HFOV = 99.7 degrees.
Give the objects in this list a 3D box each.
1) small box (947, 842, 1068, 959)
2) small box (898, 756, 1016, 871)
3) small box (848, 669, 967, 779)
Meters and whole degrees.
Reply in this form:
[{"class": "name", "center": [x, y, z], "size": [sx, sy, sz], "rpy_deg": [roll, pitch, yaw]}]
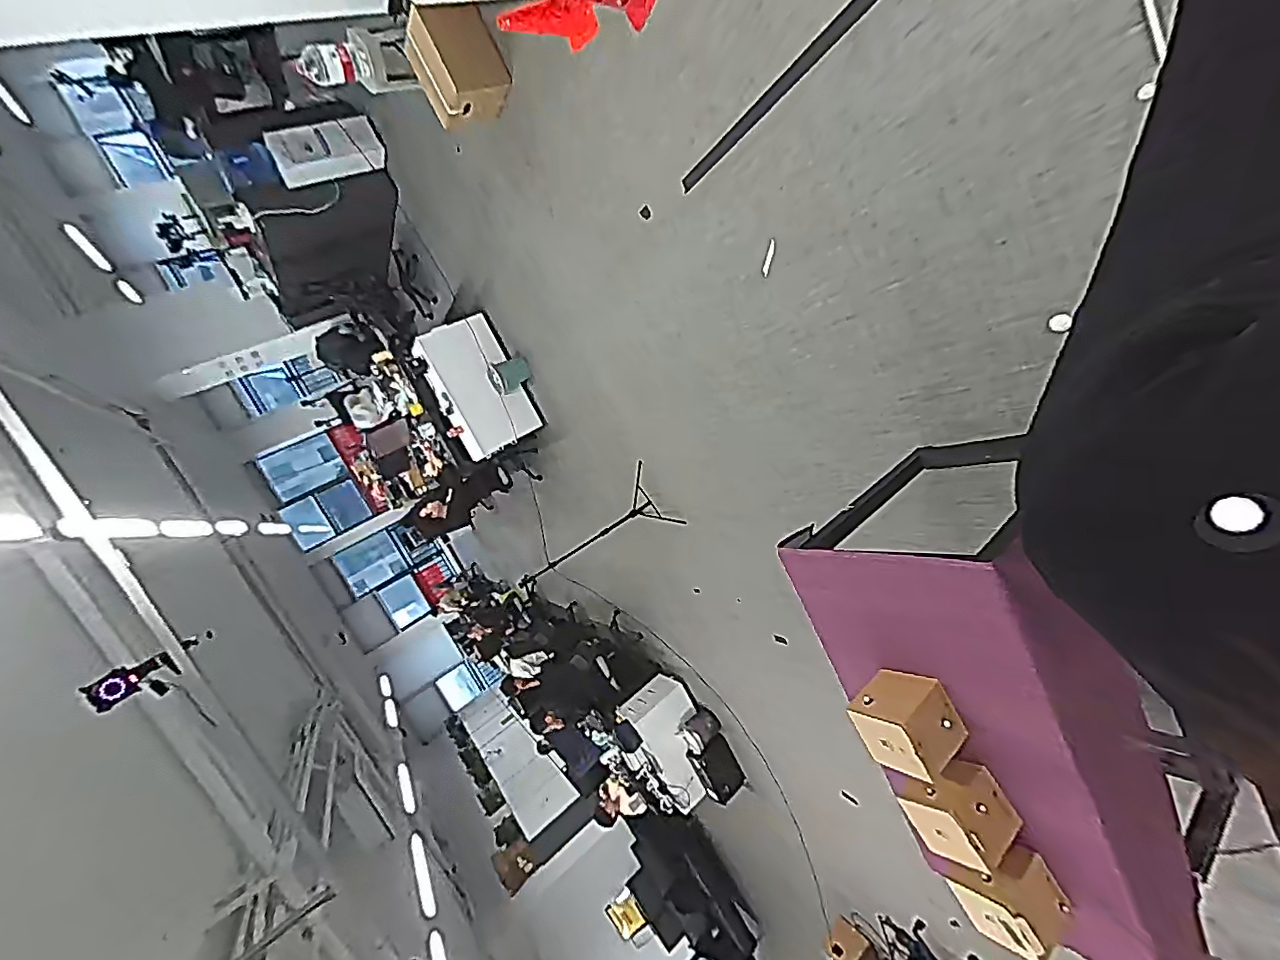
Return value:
[{"class": "small box", "center": [0.938, 1.042, 1.372], "size": [0.168, 0.176, 0.179], "rpy_deg": [58, 154, 1]}, {"class": "small box", "center": [0.808, 0.827, 1.368], "size": [0.168, 0.176, 0.179], "rpy_deg": [57, 154, 3]}, {"class": "small box", "center": [0.670, 0.600, 1.356], "size": [0.168, 0.176, 0.179], "rpy_deg": [60, 153, -5]}]
